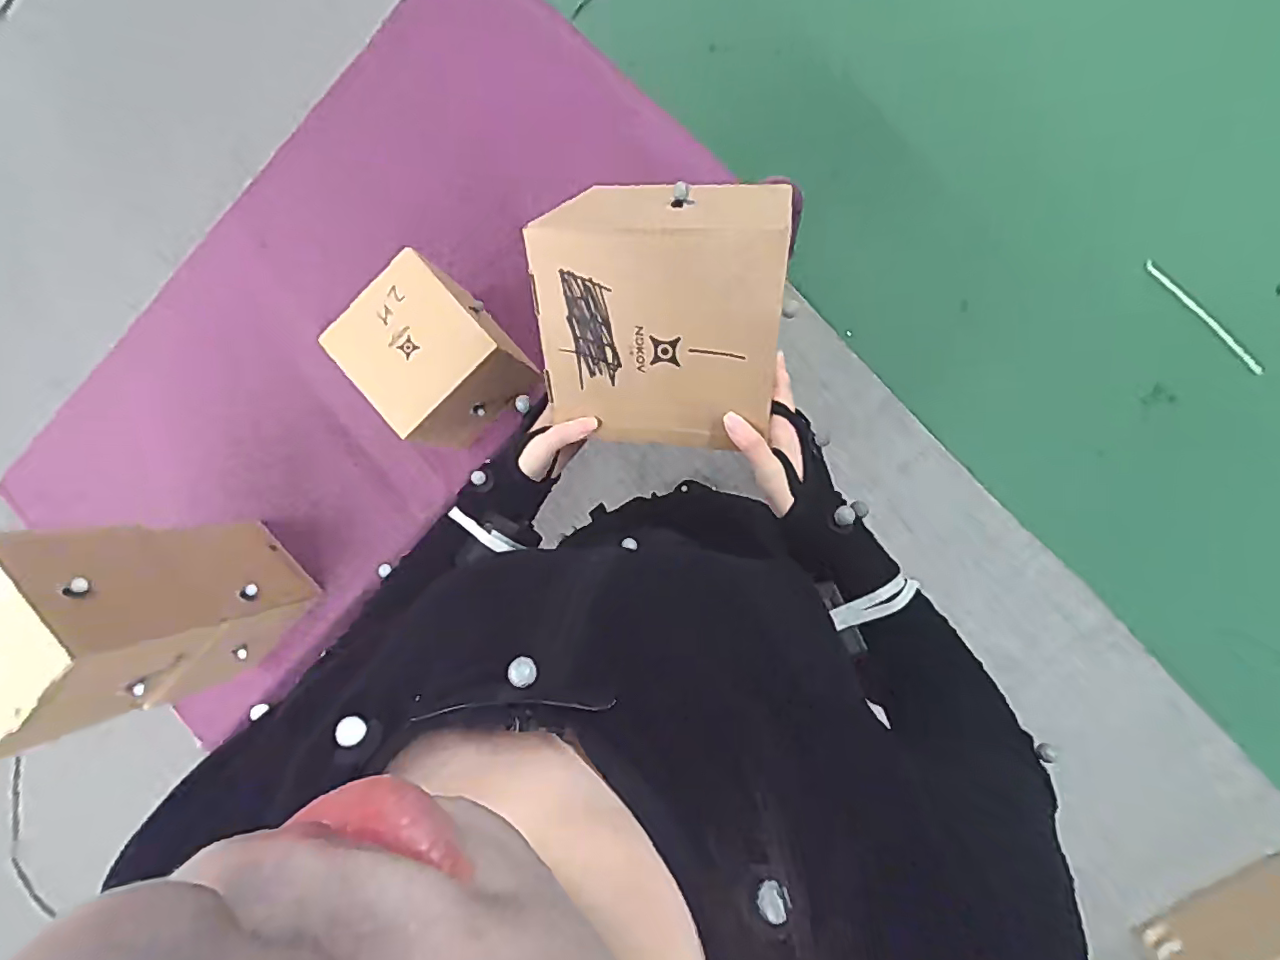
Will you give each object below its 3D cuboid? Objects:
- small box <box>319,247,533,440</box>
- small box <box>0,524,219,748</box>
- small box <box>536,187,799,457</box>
[{"bbox_3d":[-0.274,-0.169,0.736,0.168,0.176,0.179,-42,85,5],"label":"small box"},{"bbox_3d":[-0.650,0.165,0.617,0.168,0.176,0.179,-45,85,5],"label":"small box"},{"bbox_3d":[0.031,-0.141,0.457,0.179,0.176,0.168,7,128,10],"label":"small box"}]
